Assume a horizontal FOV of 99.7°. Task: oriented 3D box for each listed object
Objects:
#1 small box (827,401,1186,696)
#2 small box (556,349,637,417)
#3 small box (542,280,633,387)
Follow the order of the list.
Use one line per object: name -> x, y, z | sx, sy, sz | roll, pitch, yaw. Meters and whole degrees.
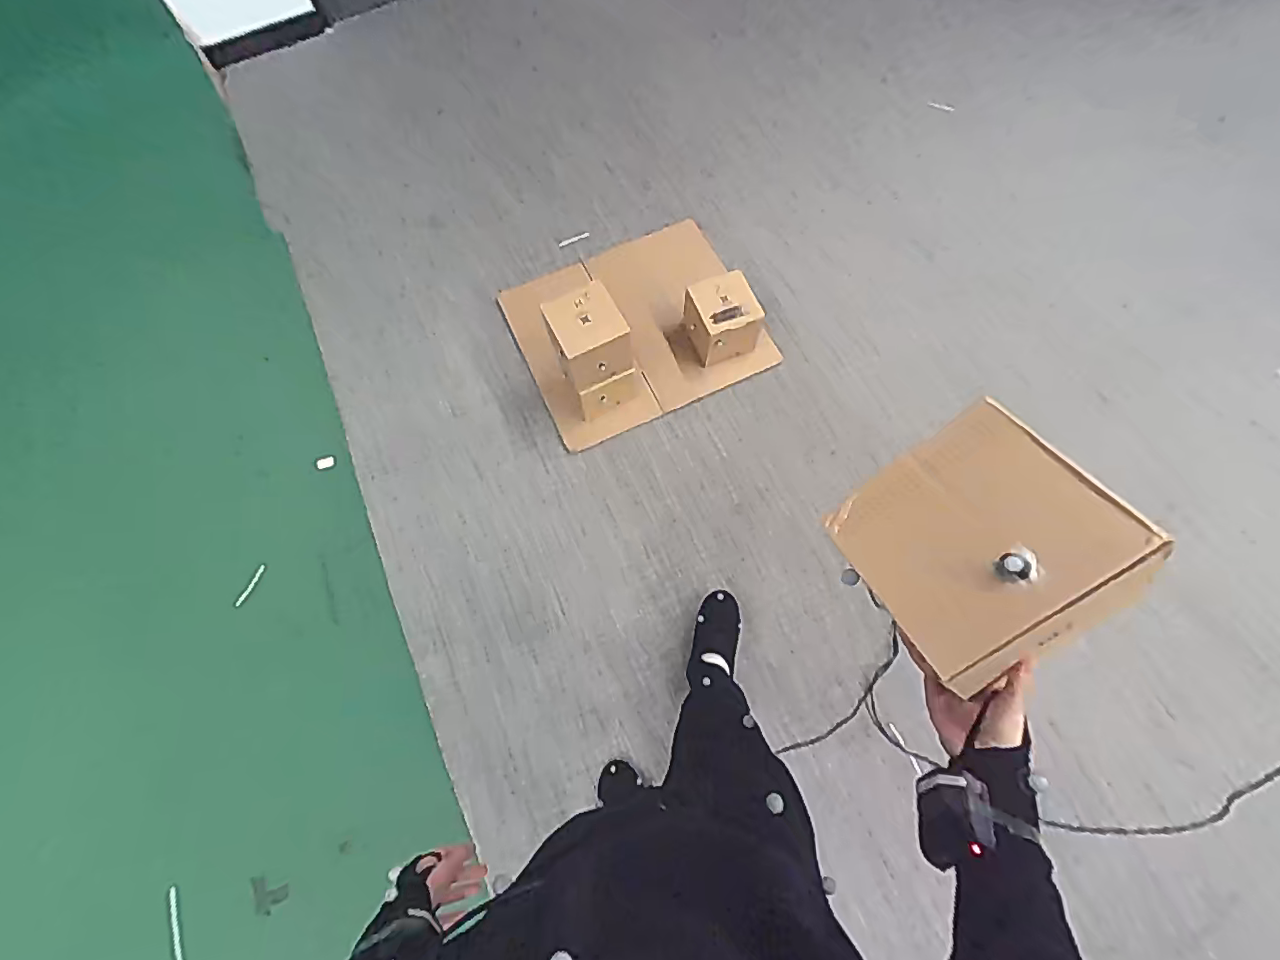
small box -> 0.302, 0.063, 0.478 | 0.179, 0.168, 0.176 | -39, 49, 13
small box -> -0.115, -0.297, 1.510 | 0.168, 0.176, 0.179 | -26, 71, -7
small box -> -0.124, -0.356, 1.356 | 0.168, 0.176, 0.179 | -25, 71, -8
